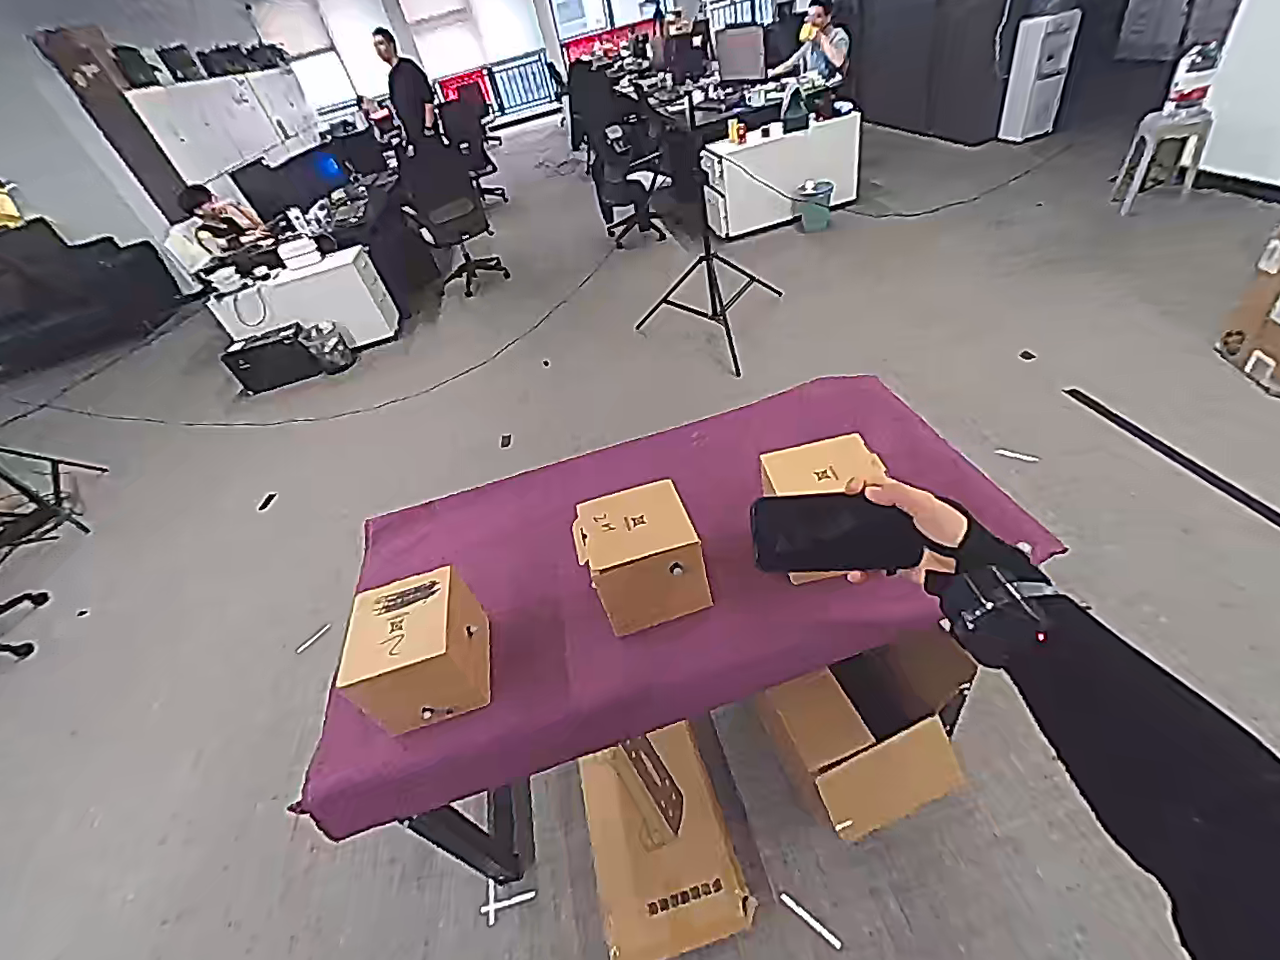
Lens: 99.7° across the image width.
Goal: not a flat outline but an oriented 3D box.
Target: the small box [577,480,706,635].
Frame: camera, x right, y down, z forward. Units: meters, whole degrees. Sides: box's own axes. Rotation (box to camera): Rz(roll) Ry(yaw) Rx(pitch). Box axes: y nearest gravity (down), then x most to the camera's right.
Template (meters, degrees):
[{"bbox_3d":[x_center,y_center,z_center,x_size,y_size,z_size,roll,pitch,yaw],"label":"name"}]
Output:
[{"bbox_3d":[0.007,0.134,0.929,0.179,0.176,0.168,-18,38,-3],"label":"small box"}]

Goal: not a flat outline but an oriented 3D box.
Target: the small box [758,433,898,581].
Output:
[{"bbox_3d":[0.314,0.050,0.926,0.179,0.176,0.168,-13,41,3],"label":"small box"}]
